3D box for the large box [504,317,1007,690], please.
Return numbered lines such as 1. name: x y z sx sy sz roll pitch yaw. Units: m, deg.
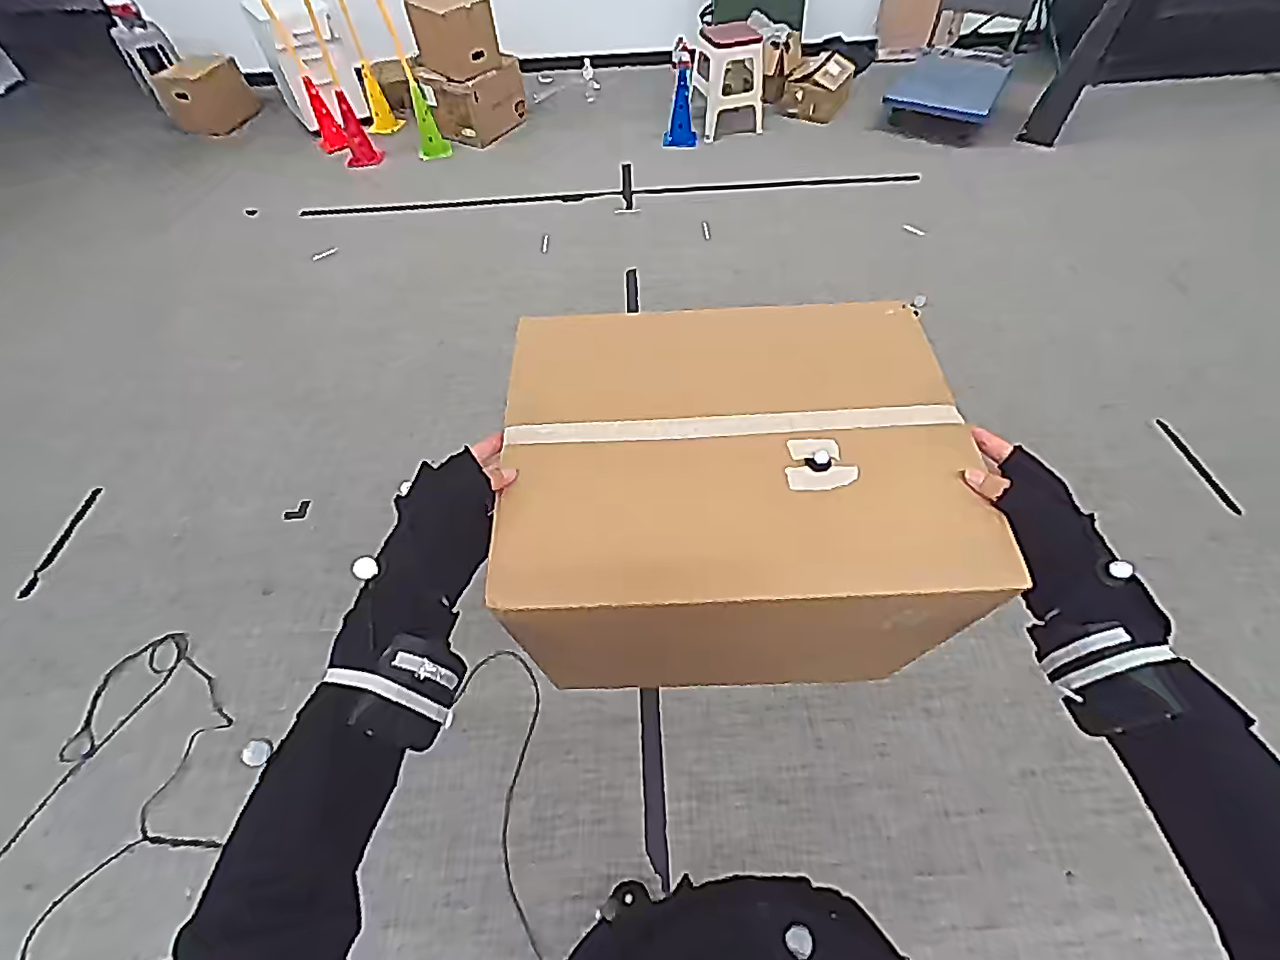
1. large box: 0.086 0.043 0.623 0.408 0.320 0.320 -2 58 0
